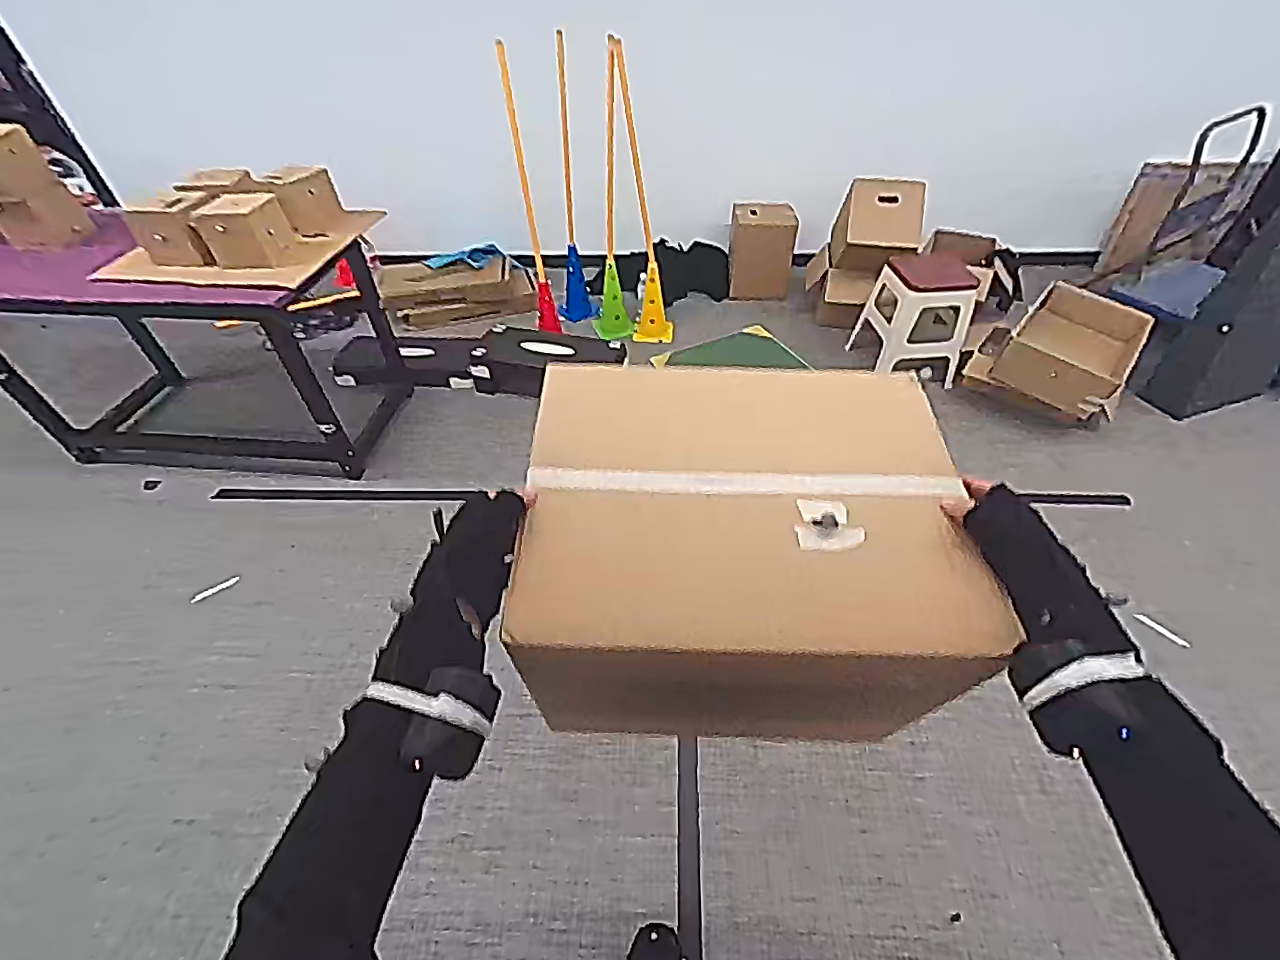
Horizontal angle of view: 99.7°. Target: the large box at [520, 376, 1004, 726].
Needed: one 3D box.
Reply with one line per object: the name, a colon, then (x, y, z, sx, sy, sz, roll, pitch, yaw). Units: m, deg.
large box: (0.098, 0.096, 0.642, 0.408, 0.320, 0.320, 1, 55, 0)
